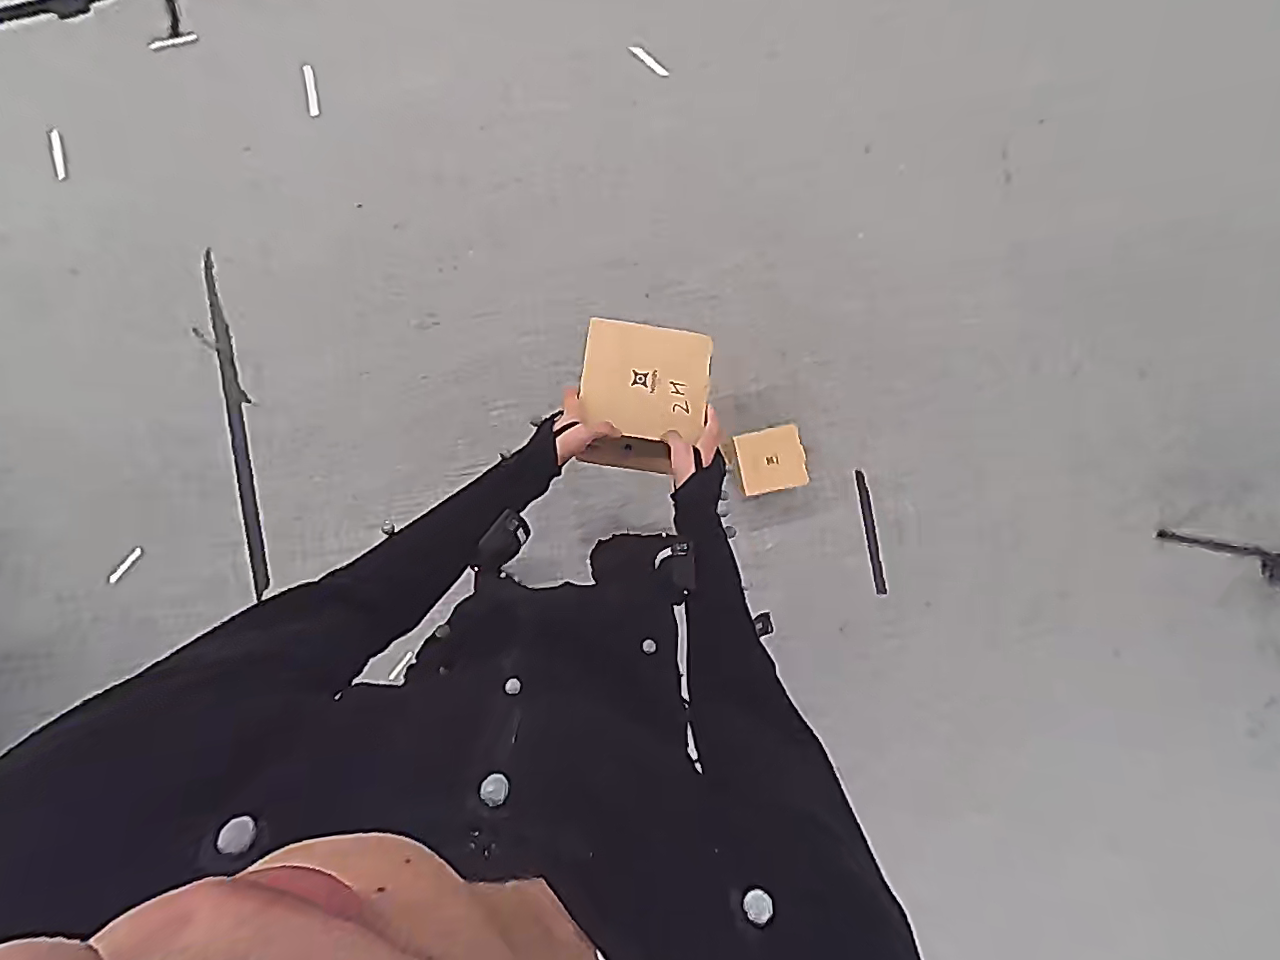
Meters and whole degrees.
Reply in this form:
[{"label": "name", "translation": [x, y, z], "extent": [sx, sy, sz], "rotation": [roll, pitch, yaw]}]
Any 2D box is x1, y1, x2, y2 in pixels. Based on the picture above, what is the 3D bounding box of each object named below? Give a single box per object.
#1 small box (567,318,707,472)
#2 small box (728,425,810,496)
[{"label": "small box", "translation": [-0.008, -0.115, 0.802], "extent": [0.179, 0.176, 0.168], "rotation": [7, 77, -5]}, {"label": "small box", "translation": [0.355, -0.053, 1.518], "extent": [0.179, 0.176, 0.168], "rotation": [-12, 90, 2]}]
